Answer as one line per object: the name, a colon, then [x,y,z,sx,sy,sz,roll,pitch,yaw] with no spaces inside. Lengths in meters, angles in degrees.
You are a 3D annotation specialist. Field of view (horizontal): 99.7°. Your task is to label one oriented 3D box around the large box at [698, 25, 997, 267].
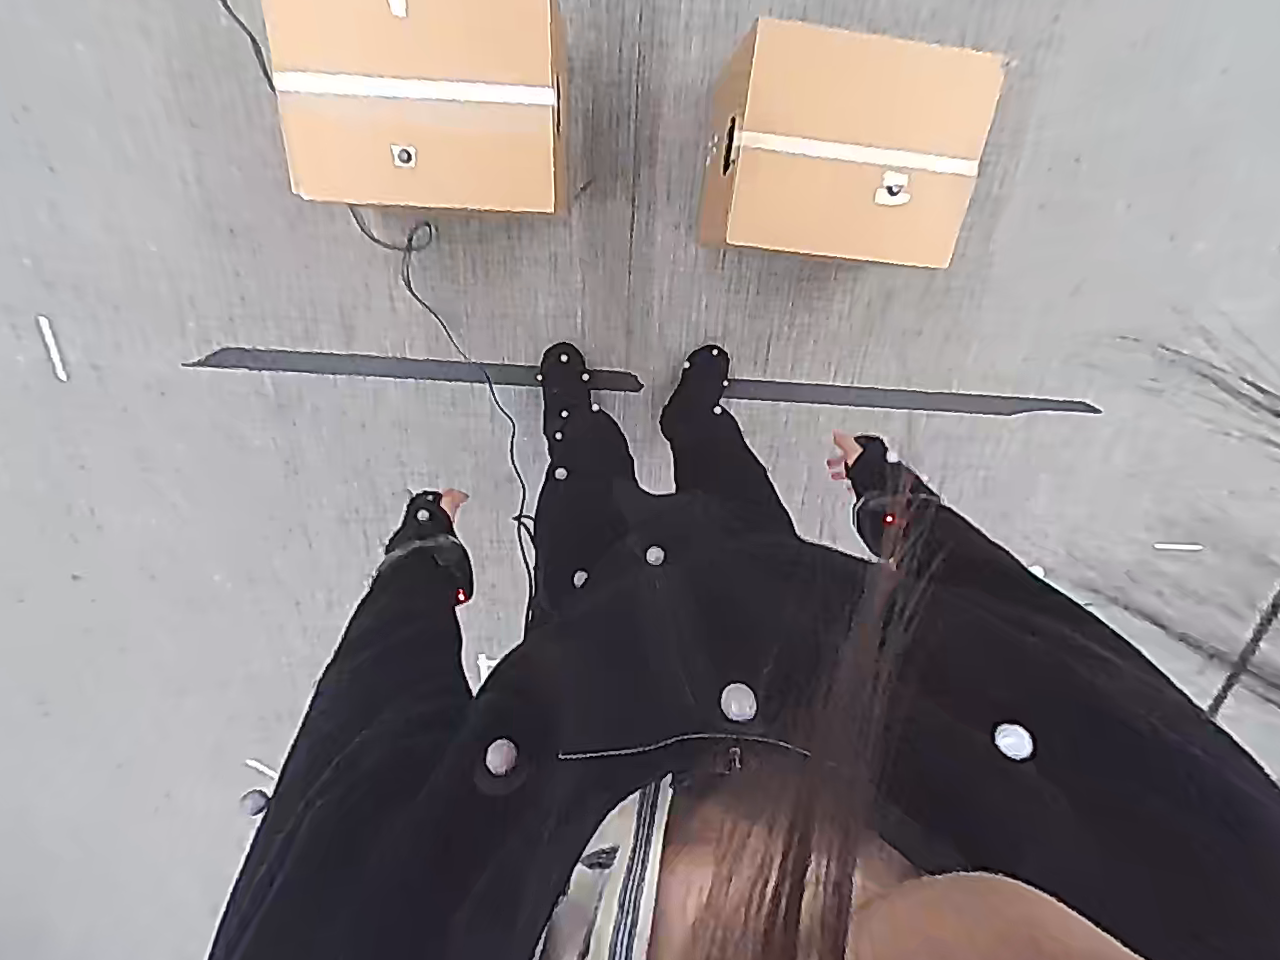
large box: [0.347,-0.589,1.029,0.408,0.320,0.320,4,112,-6]
